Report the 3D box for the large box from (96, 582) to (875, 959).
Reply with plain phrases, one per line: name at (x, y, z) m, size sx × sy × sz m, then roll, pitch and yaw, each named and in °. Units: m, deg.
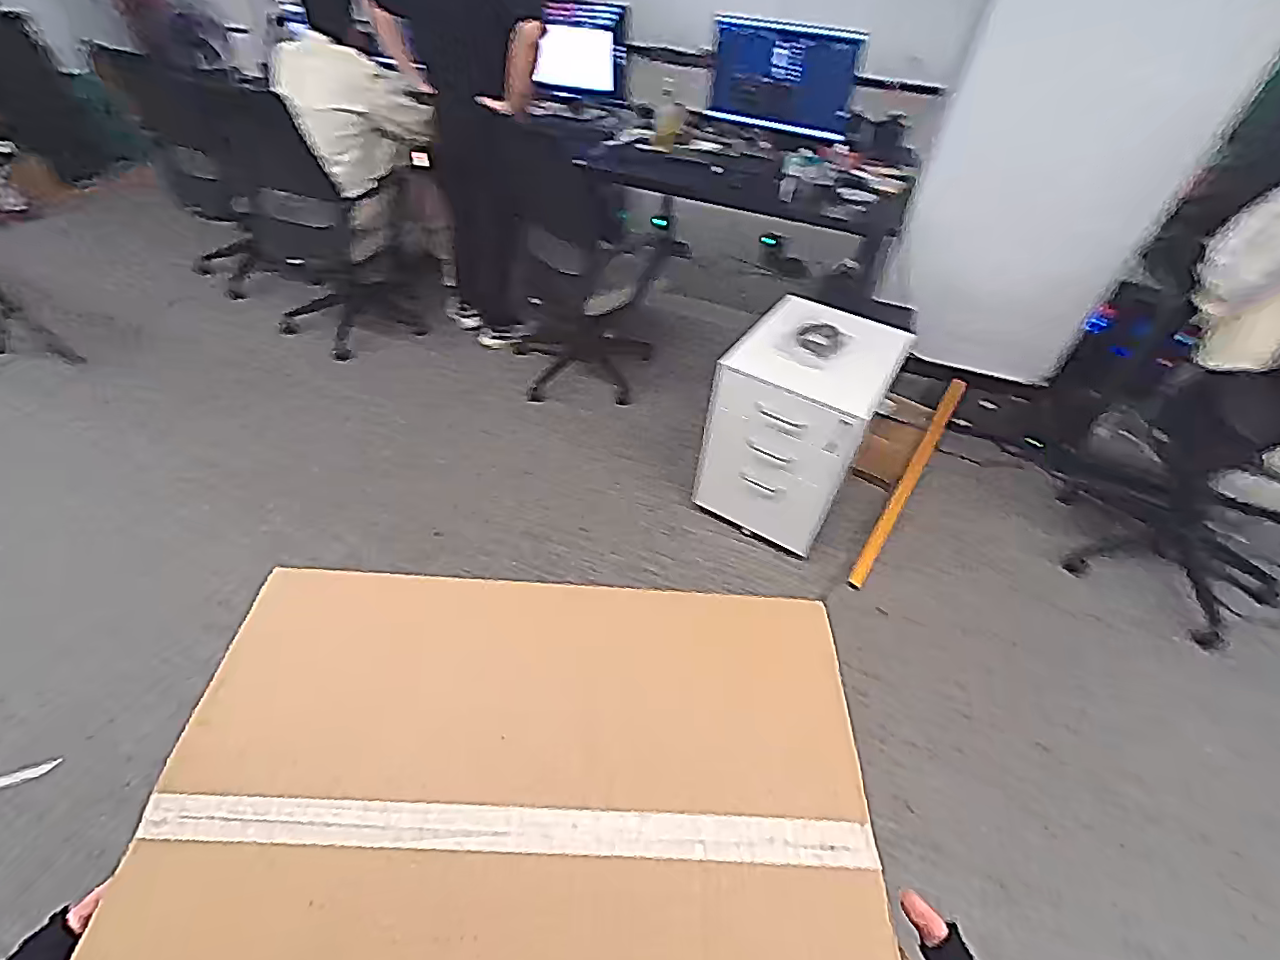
large box at (-0.083, 0.298, 0.429) m, size 0.408 × 0.320 × 0.320 m, roll 3°, pitch 51°, yaw -3°
